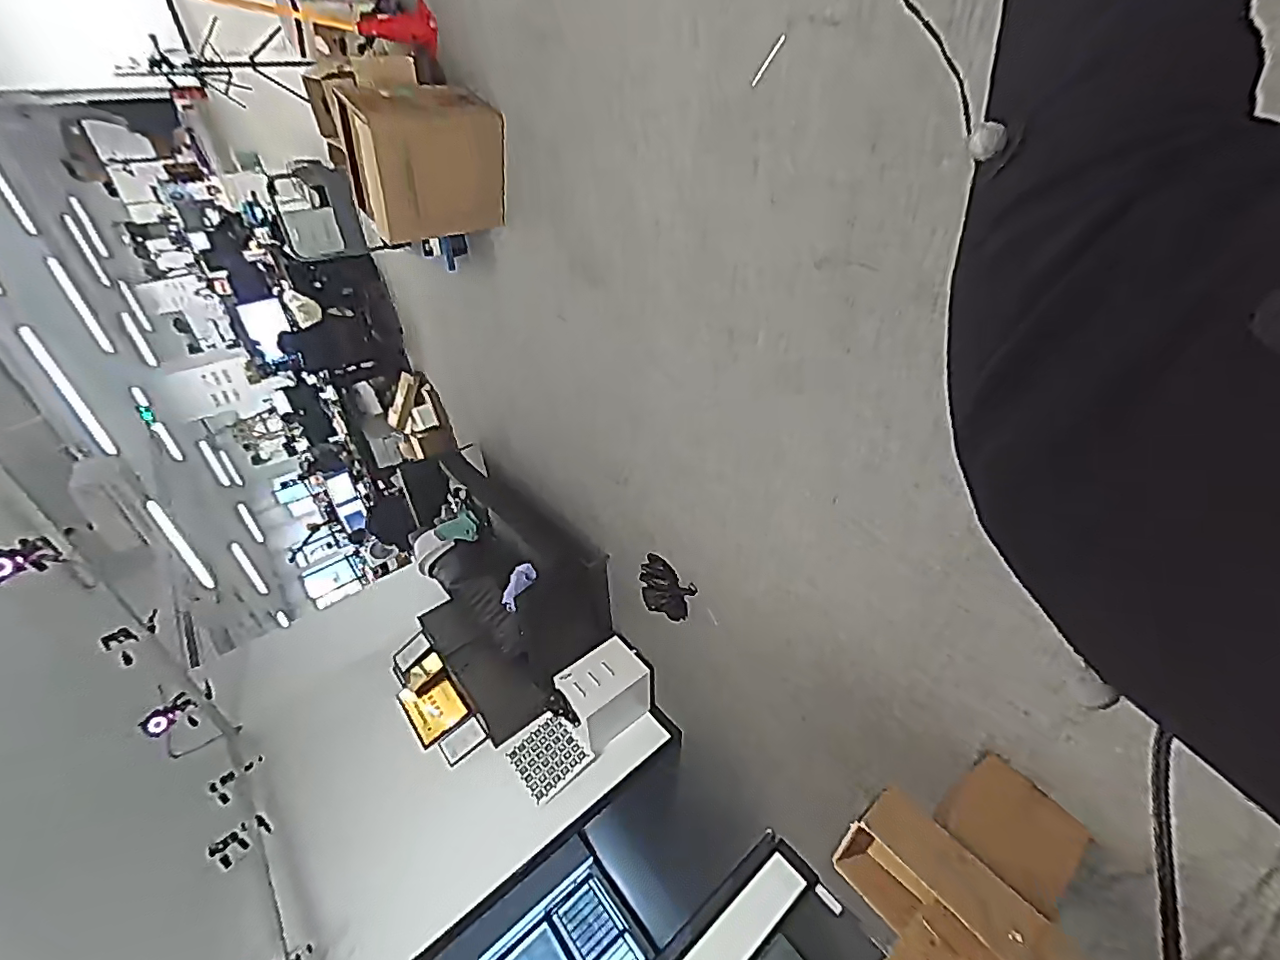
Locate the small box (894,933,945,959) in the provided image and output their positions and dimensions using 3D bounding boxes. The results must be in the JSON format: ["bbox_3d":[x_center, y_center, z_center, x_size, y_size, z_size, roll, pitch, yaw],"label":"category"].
[{"bbox_3d":[0.802,1.446,1.535,0.168,0.176,0.179,36,140,42],"label":"small box"}]

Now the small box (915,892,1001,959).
[{"bbox_3d":[0.933,1.378,1.607,0.168,0.176,0.179,38,144,40],"label":"small box"}]
